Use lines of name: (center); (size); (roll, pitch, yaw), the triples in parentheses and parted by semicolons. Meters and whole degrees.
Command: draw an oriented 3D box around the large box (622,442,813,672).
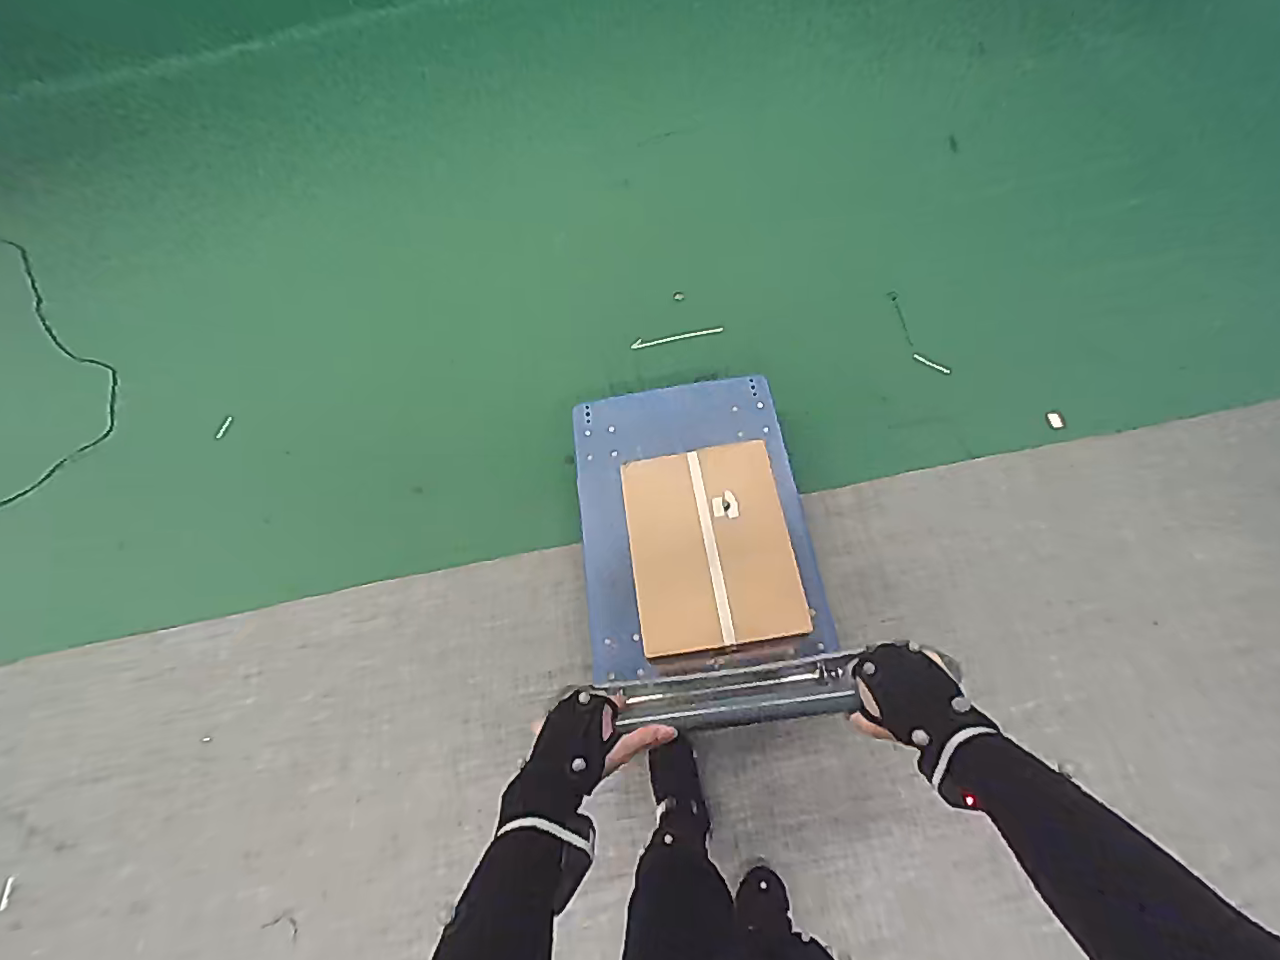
large box: (0.158, 0.184, 1.205); (0.320, 0.320, 0.408); (-10, 65, 2)
